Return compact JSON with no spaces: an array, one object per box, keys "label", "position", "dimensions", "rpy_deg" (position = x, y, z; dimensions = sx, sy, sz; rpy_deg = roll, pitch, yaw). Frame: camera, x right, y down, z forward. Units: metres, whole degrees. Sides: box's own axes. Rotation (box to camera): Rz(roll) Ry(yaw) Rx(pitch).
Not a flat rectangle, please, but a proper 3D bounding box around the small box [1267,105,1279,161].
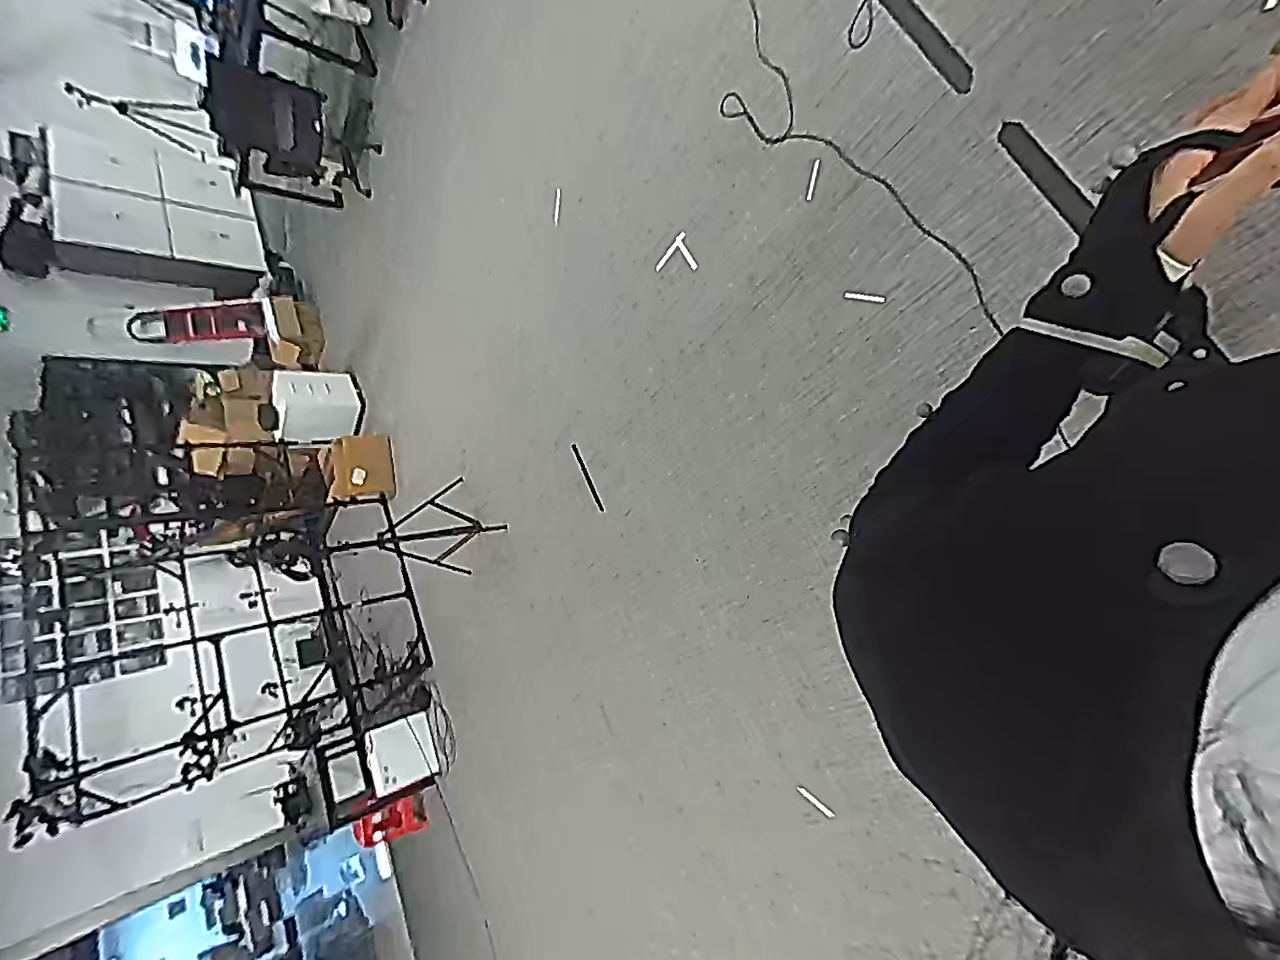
[{"label":"small box","position":[0.470,-0.273,0.275],"dimensions":[0.168,0.176,0.179],"rpy_deg":[17,117,42]}]
